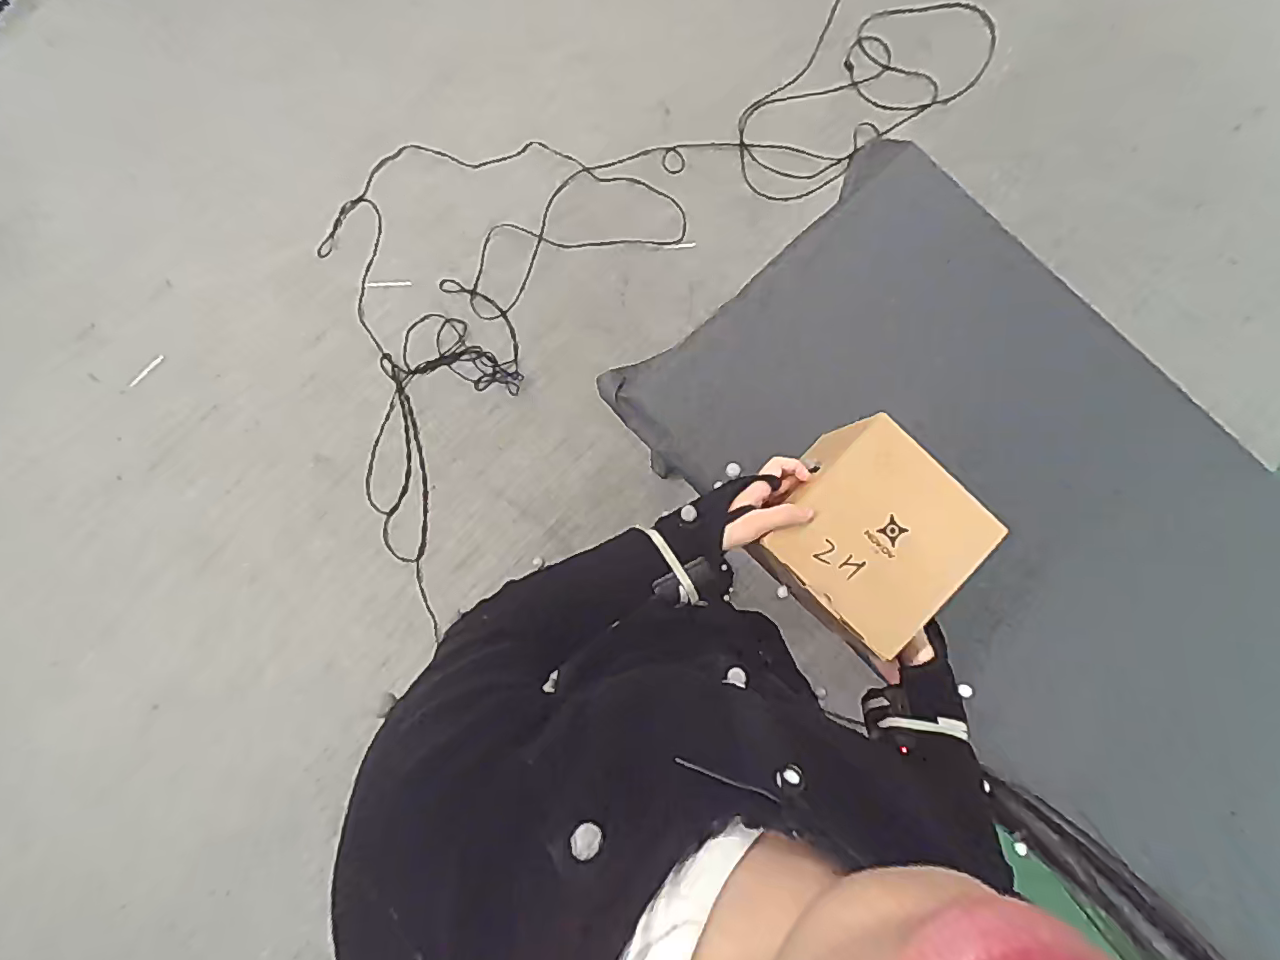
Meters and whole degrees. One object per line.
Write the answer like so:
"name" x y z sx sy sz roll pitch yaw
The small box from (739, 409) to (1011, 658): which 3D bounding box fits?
"small box" 0.231 0.054 0.583 0.168 0.176 0.179 44 85 1
